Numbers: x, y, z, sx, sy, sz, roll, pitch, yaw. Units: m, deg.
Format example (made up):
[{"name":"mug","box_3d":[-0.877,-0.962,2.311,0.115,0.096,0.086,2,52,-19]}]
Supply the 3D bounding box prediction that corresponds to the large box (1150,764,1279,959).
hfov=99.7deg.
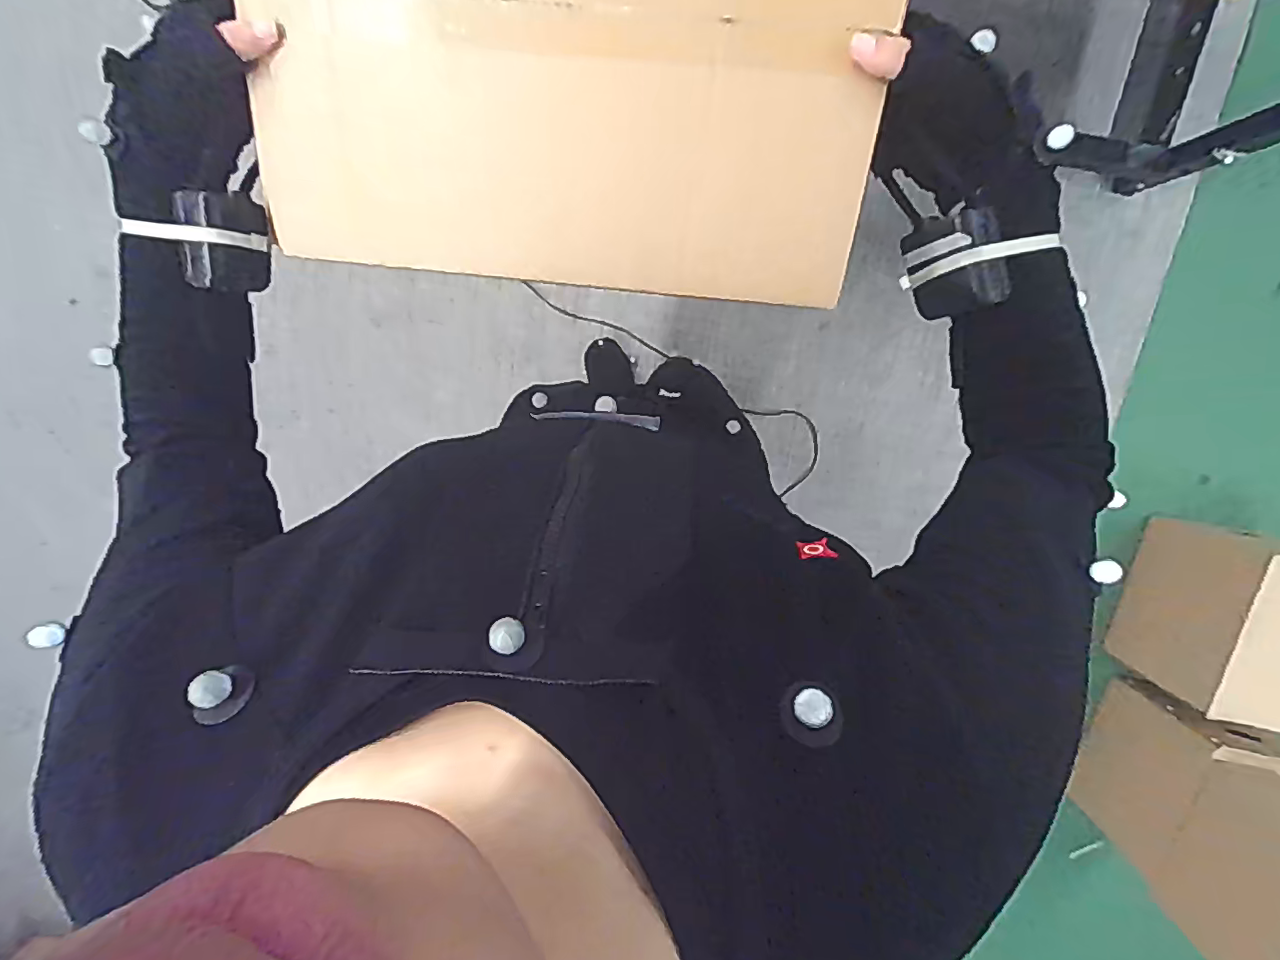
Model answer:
[{"name":"large box","box_3d":[1.442,0.902,1.162,0.320,0.320,0.408,11,104,1]}]
